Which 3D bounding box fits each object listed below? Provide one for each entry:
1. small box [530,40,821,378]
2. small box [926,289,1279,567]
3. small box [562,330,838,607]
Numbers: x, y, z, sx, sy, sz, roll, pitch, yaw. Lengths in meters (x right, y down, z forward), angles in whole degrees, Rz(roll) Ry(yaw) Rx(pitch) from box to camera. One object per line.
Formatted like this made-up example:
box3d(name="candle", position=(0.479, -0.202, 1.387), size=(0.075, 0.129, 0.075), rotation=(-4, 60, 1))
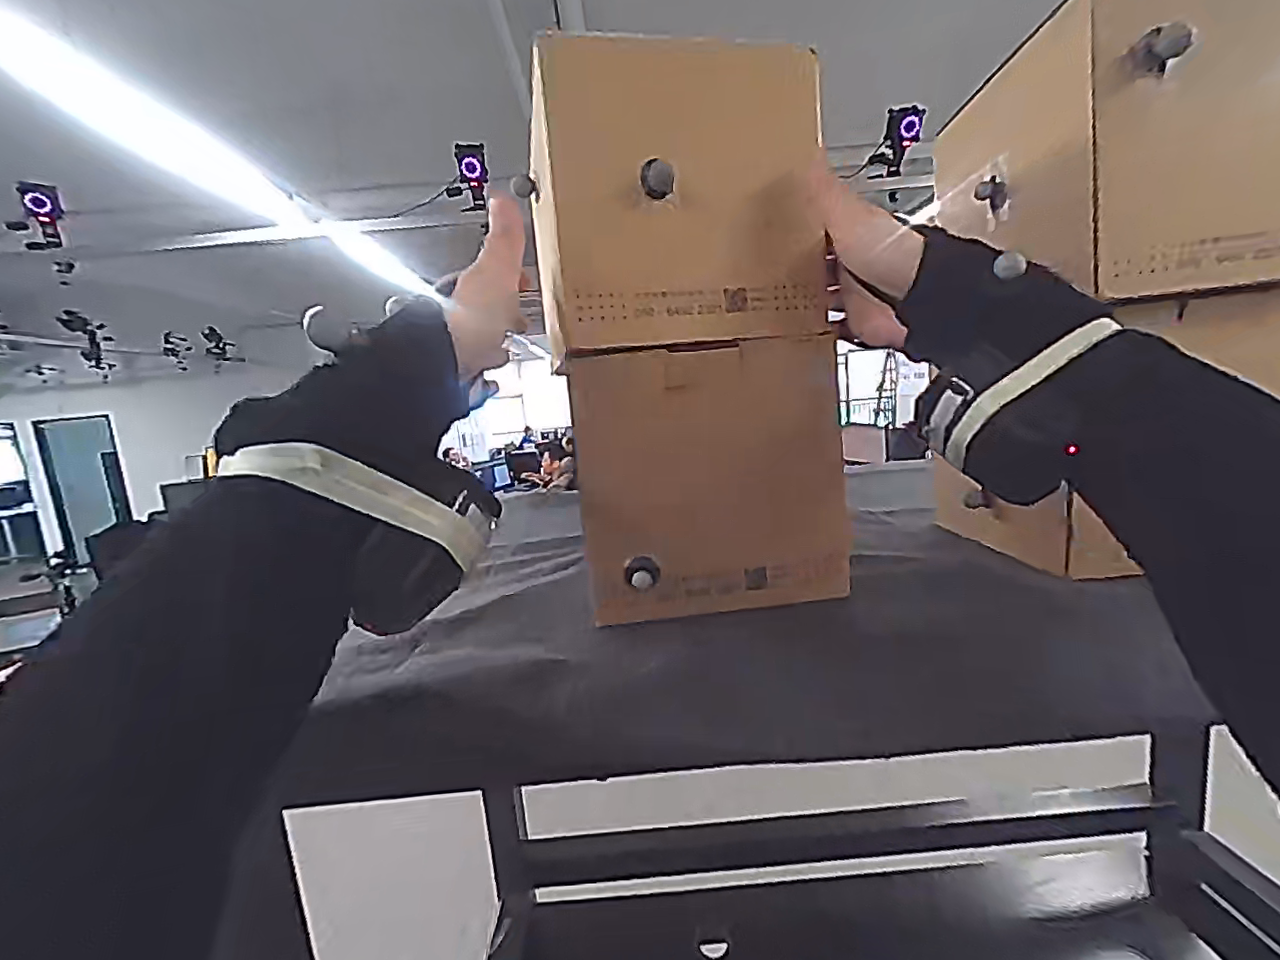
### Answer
box3d(name="small box", position=(0.014, -0.168, 0.390), size=(0.168, 0.176, 0.179), rotation=(-7, 7, -12))
box3d(name="small box", position=(0.339, -0.036, 0.404), size=(0.168, 0.176, 0.179), rotation=(-4, 8, 3))
box3d(name="small box", position=(0.037, -0.009, 0.412), size=(0.168, 0.176, 0.179), rotation=(-6, 7, -4))
